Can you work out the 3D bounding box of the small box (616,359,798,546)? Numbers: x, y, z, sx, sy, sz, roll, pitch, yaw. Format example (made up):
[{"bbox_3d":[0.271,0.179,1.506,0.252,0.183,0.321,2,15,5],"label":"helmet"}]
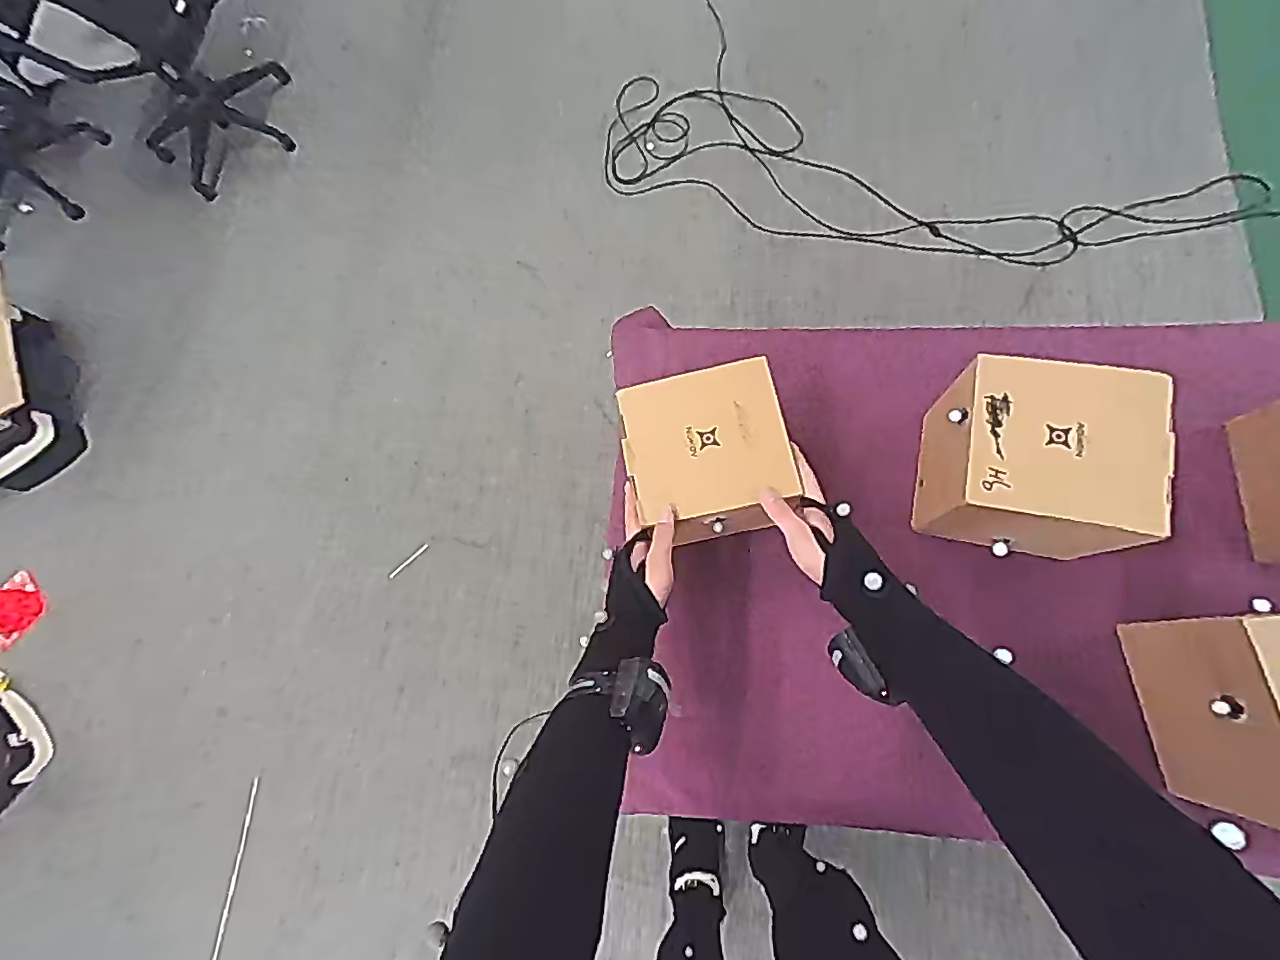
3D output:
[{"bbox_3d":[0.082,-0.021,0.665,0.179,0.176,0.168,-12,74,6],"label":"small box"}]

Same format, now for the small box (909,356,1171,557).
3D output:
[{"bbox_3d":[0.427,-0.015,0.603,0.179,0.176,0.168,11,77,12],"label":"small box"}]

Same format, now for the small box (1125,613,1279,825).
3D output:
[{"bbox_3d":[0.612,0.217,0.503,0.168,0.176,0.179,-6,72,9],"label":"small box"}]
